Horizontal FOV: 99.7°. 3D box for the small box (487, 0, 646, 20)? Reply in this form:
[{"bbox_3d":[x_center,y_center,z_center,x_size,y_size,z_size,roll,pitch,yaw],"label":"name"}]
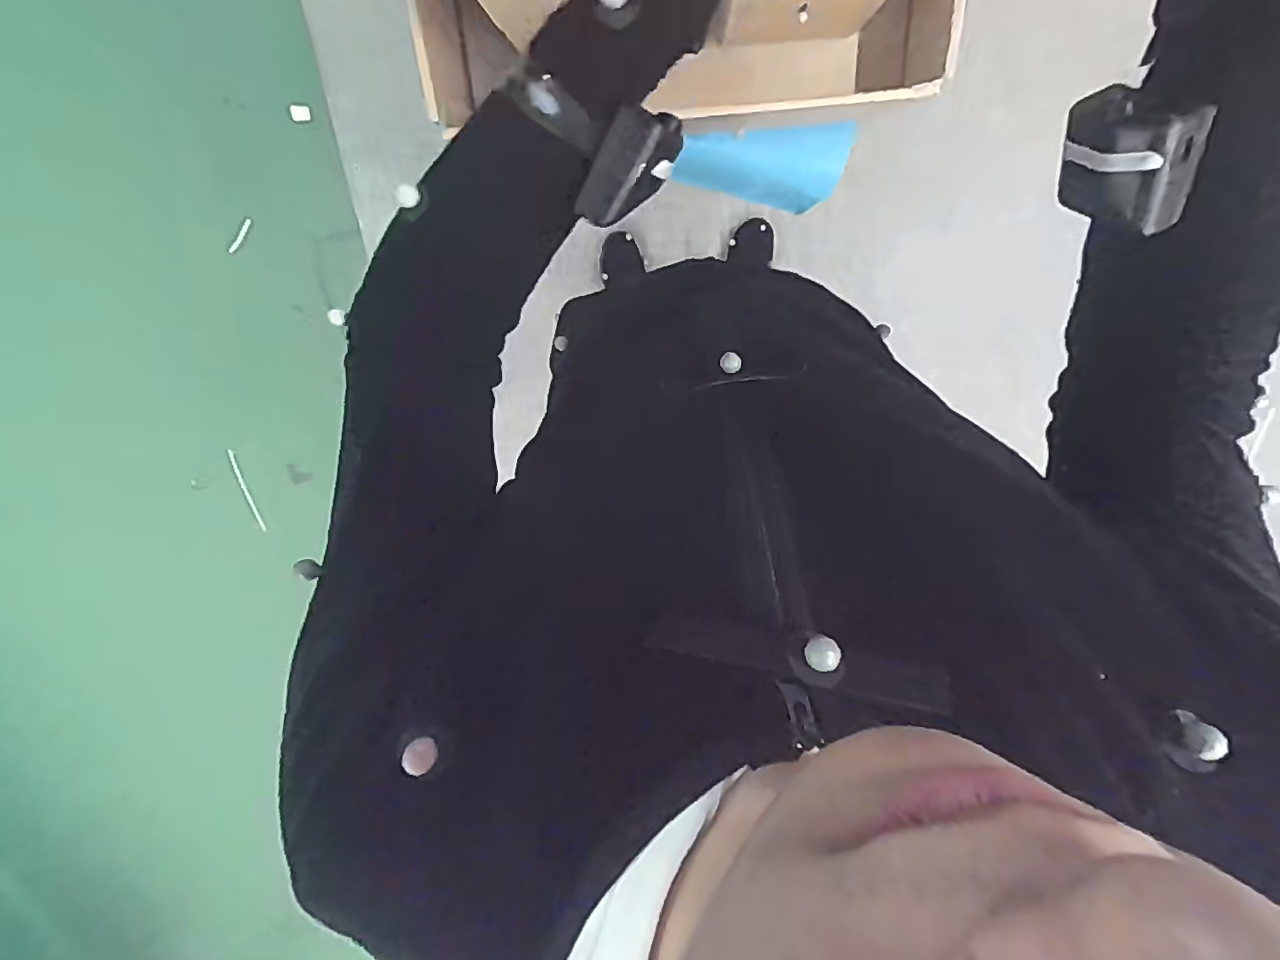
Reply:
[{"bbox_3d":[-0.077,-0.539,0.475,0.179,0.176,0.168,-3,115,2],"label":"small box"}]
